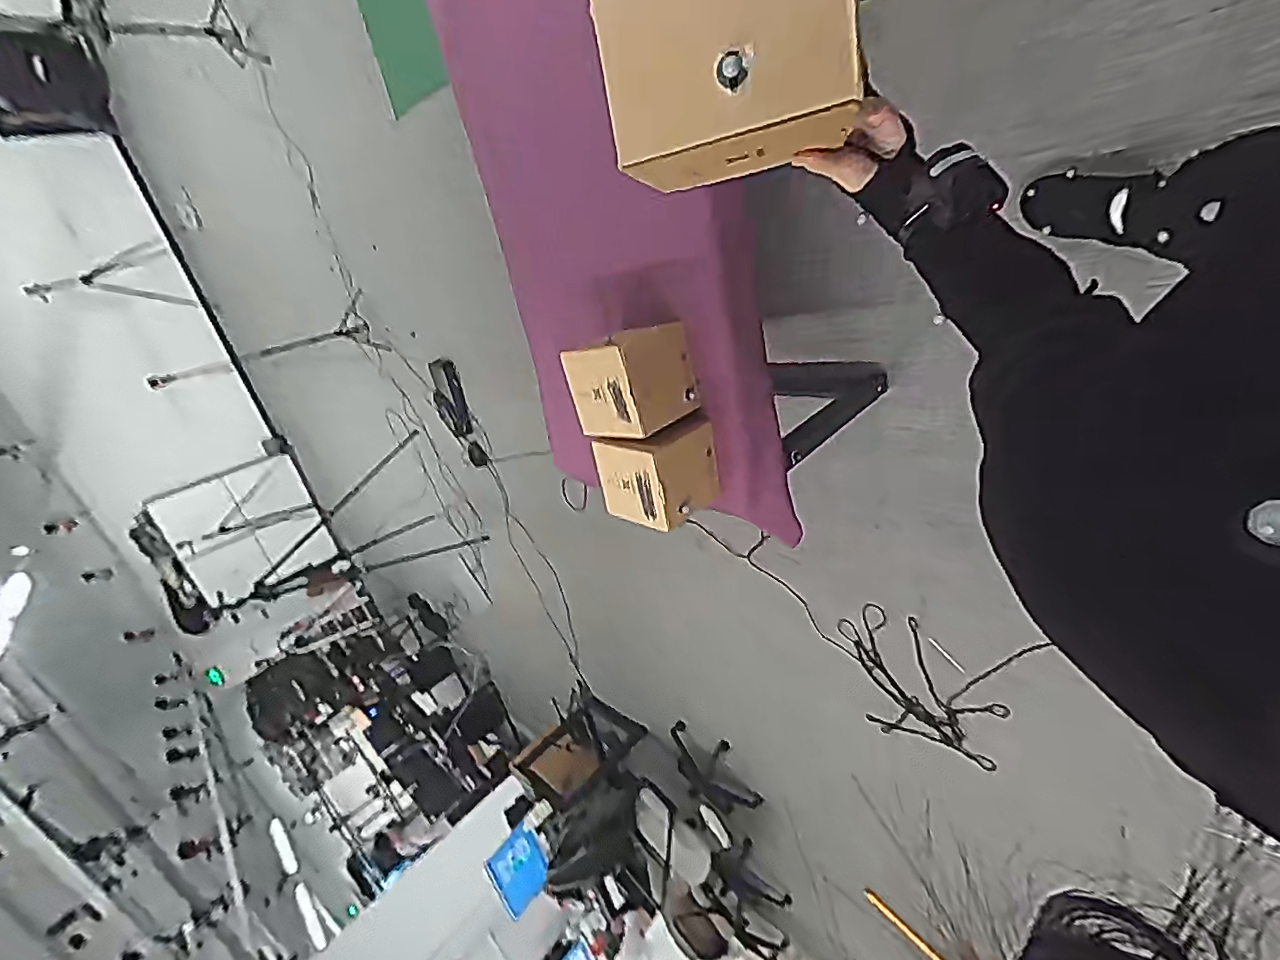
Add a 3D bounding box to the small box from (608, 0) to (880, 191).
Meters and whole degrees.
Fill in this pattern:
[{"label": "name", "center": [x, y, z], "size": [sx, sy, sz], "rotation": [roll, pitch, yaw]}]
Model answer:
[{"label": "small box", "center": [0.081, -0.348, 0.430], "size": [0.179, 0.168, 0.176], "rotation": [-5, 111, 18]}]
